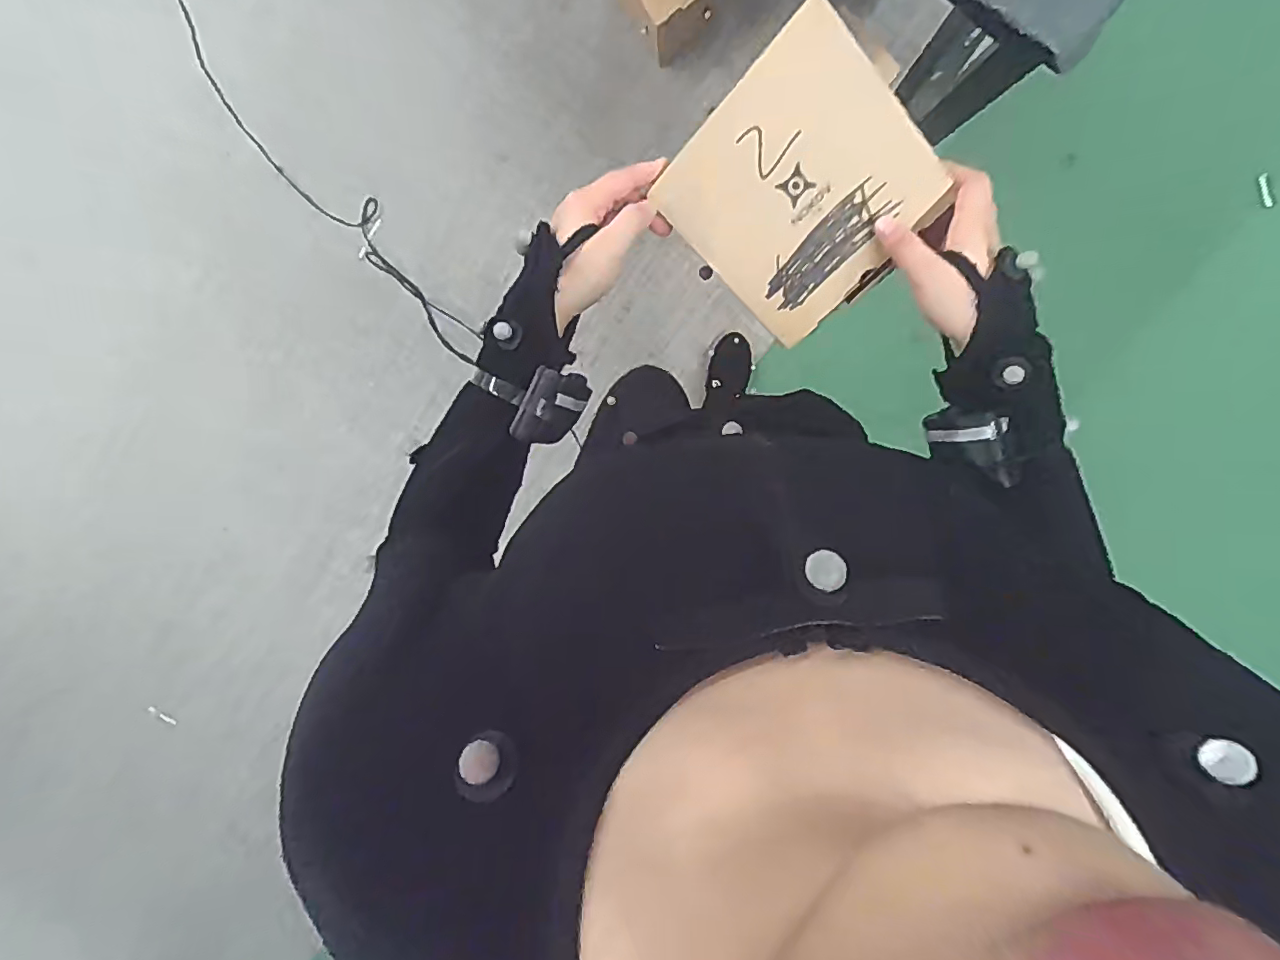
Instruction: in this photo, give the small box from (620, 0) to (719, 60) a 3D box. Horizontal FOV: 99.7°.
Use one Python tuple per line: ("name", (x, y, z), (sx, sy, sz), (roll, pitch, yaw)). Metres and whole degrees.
("small box", (0.058, -1.036, 1.136), (0.168, 0.176, 0.179), (-33, 98, 11))
